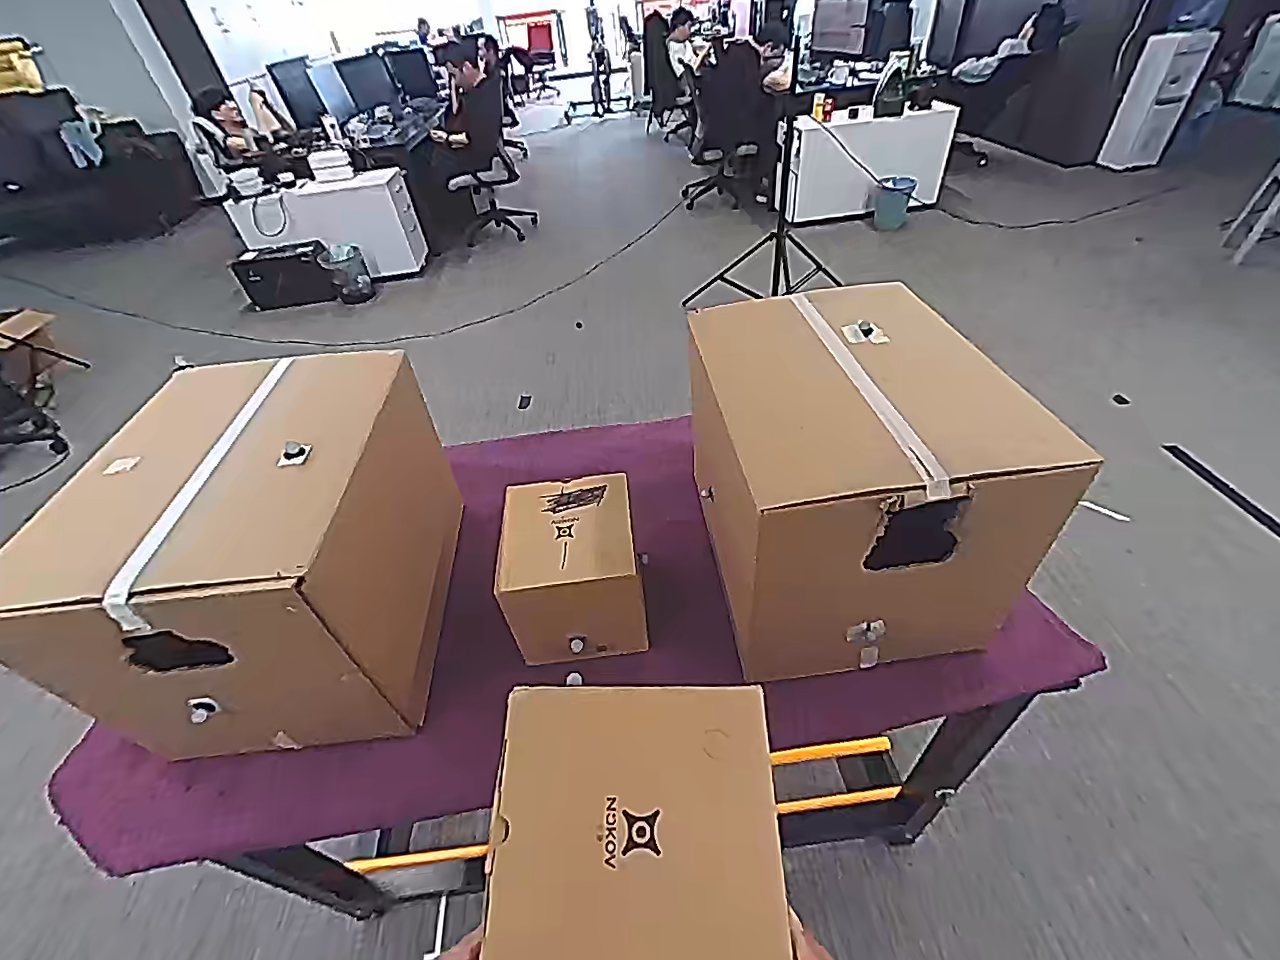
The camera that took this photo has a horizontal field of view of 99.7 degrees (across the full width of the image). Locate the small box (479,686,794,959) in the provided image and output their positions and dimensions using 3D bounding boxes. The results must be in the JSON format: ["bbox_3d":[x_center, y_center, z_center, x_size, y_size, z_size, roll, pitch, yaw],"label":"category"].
[{"bbox_3d":[0.003,0.251,0.396,0.179,0.176,0.168,-3,58,5],"label":"small box"}]

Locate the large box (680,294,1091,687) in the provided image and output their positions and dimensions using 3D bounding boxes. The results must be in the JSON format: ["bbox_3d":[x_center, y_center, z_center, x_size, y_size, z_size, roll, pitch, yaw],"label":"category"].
[{"bbox_3d":[0.247,-0.003,0.719,0.320,0.320,0.408,-8,41,-1],"label":"large box"}]
